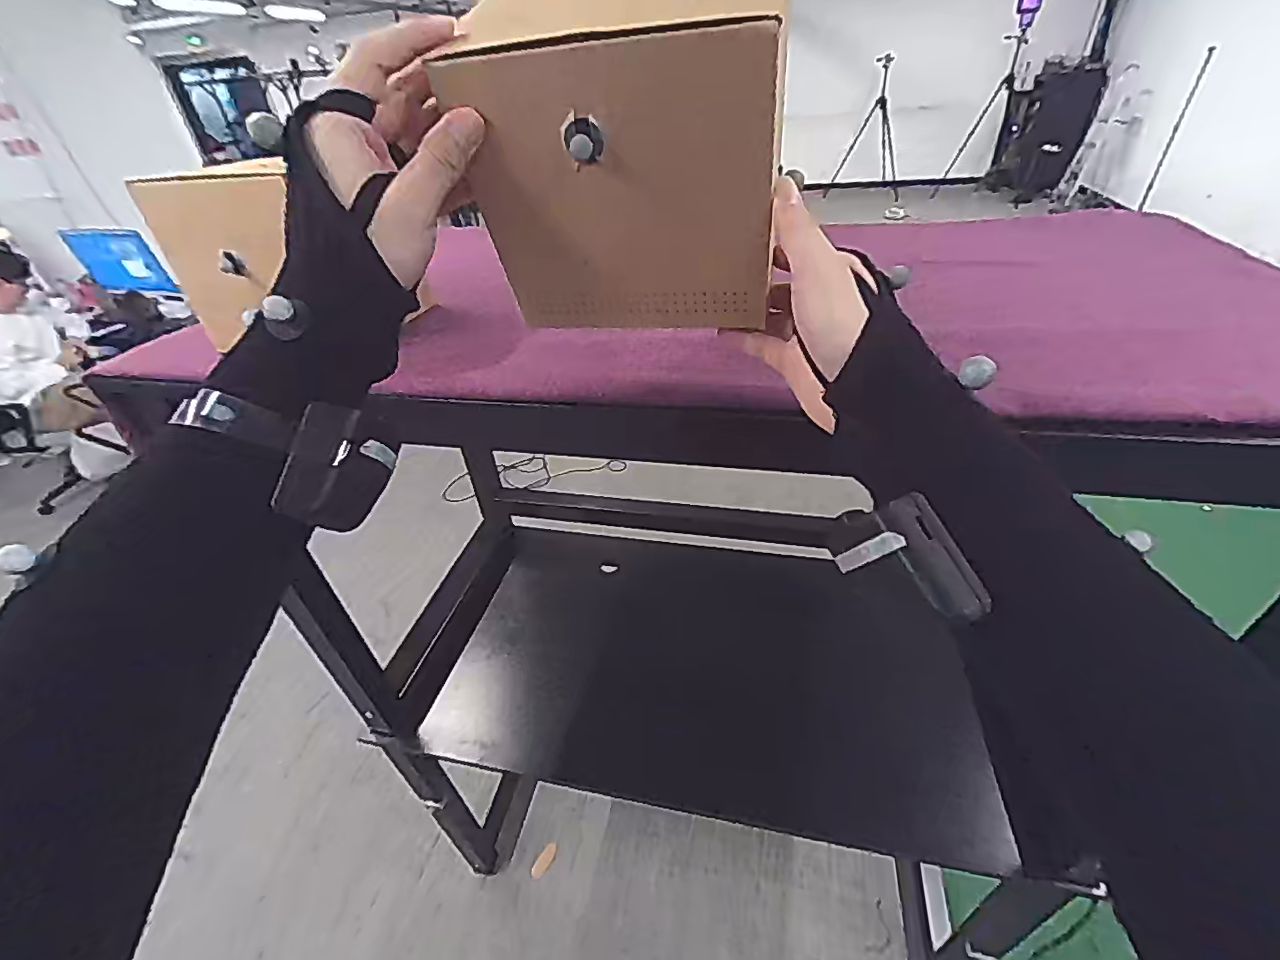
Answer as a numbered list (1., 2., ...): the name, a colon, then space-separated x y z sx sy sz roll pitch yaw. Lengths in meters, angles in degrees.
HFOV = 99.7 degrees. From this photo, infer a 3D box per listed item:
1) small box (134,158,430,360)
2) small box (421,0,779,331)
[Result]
1. small box: -0.363 -0.238 0.591 0.179 0.176 0.168 3 37 13
2. small box: -0.002 -0.217 0.364 0.179 0.176 0.168 4 56 14
